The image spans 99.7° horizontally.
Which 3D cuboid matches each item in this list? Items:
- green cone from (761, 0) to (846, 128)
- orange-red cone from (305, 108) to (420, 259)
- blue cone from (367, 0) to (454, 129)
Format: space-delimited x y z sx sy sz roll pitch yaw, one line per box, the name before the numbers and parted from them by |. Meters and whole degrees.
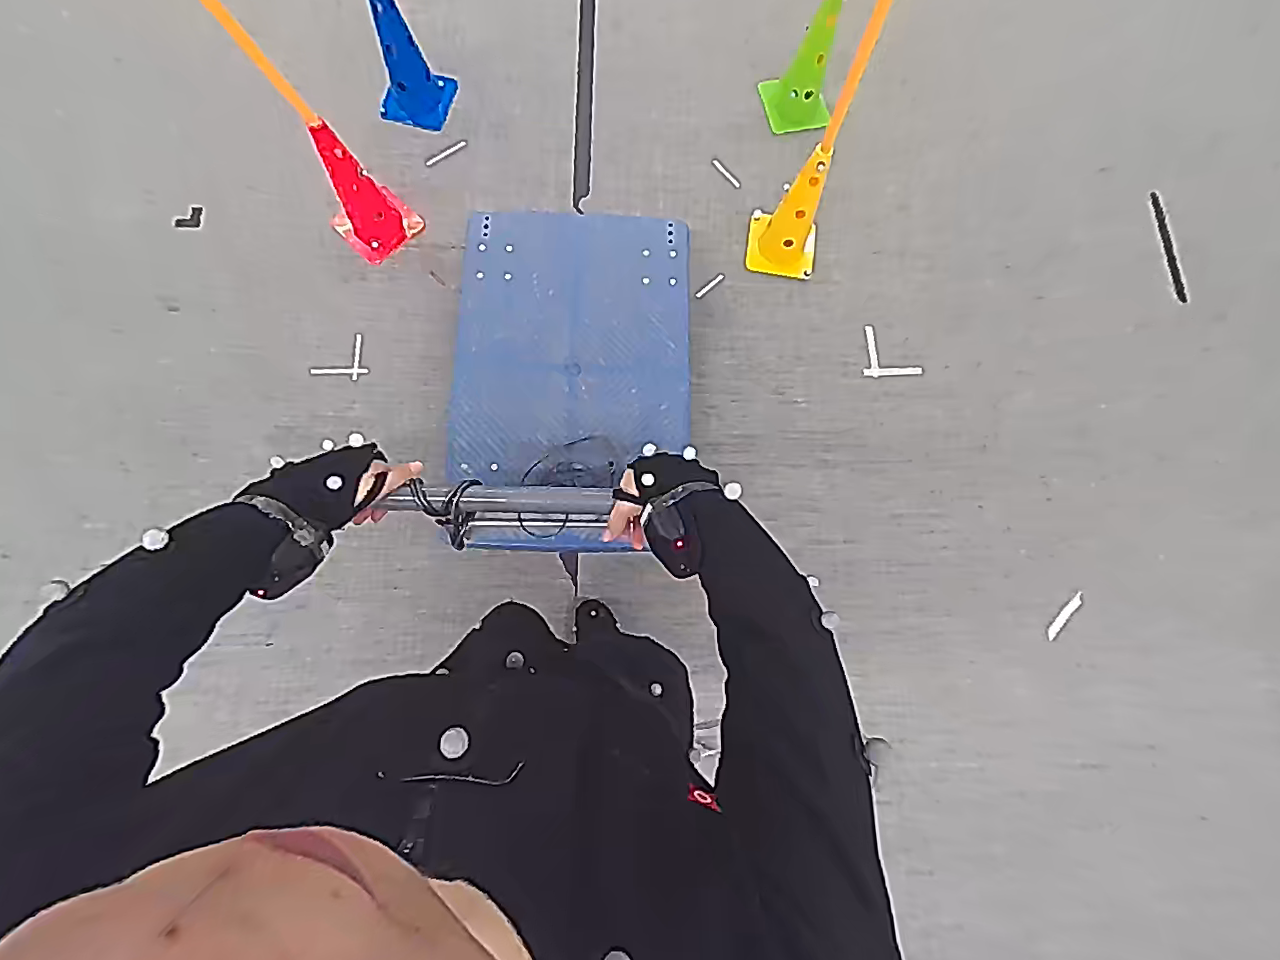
green cone | 0.506 -1.249 1.553 0.200 0.368 0.202 -13 80 -5
orange-red cone | -0.750 -0.787 1.391 0.199 0.360 0.198 -44 84 -12
blue cone | -0.674 -1.210 1.503 0.193 0.380 0.192 15 78 0
